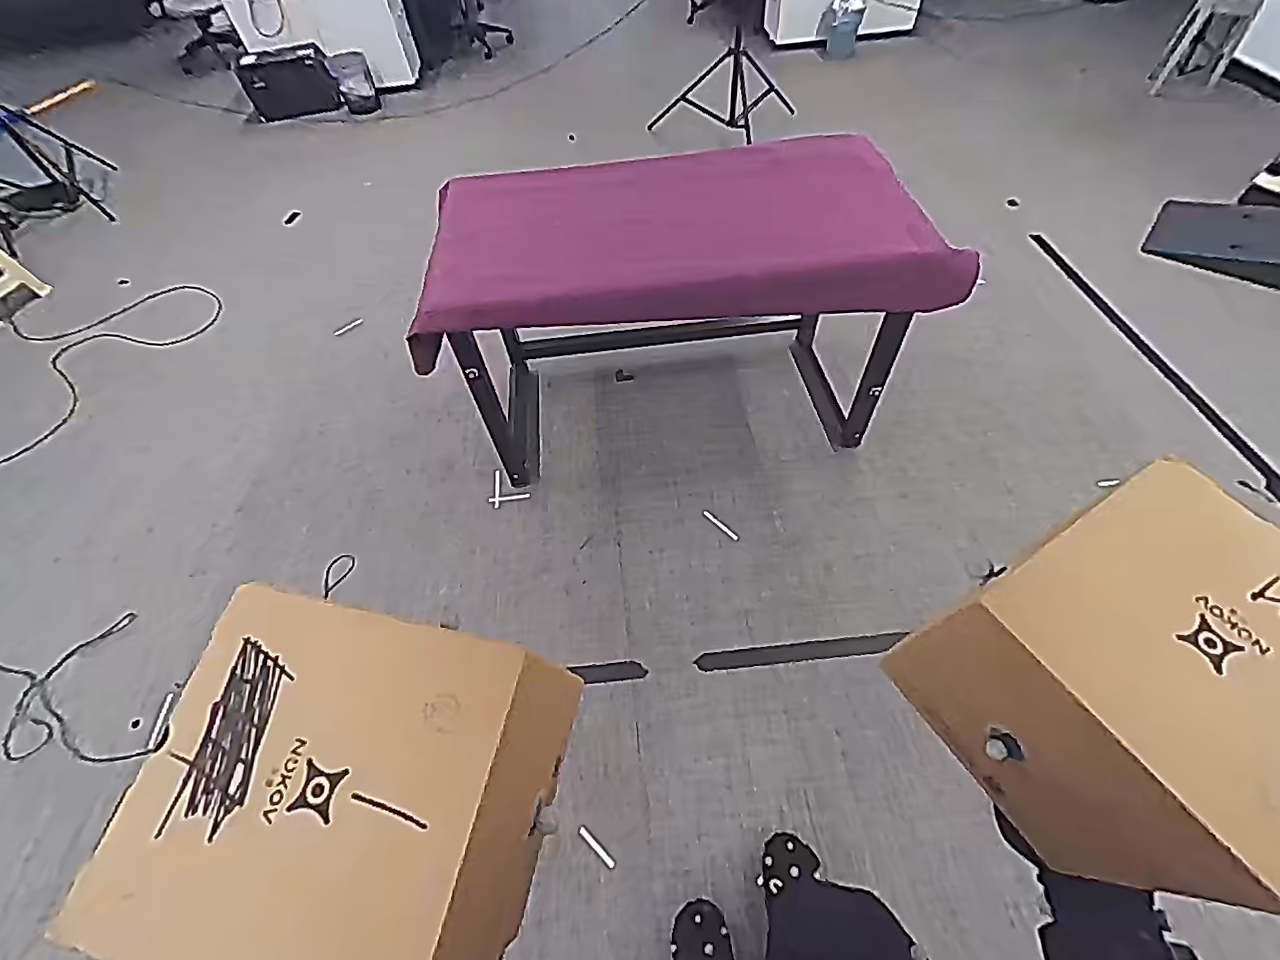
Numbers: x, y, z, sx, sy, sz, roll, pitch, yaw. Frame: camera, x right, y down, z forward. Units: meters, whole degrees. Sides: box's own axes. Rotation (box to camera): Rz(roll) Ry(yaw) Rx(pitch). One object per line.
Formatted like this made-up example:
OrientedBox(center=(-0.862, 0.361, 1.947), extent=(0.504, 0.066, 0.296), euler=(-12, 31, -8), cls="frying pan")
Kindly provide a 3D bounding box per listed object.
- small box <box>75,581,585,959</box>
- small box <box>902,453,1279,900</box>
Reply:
OrientedBox(center=(-0.147, 0.177, 0.332), extent=(0.179, 0.176, 0.168), euler=(10, 66, 9), cls="small box")
OrientedBox(center=(0.304, 0.121, 0.351), extent=(0.179, 0.176, 0.168), euler=(-30, 63, -14), cls="small box")
